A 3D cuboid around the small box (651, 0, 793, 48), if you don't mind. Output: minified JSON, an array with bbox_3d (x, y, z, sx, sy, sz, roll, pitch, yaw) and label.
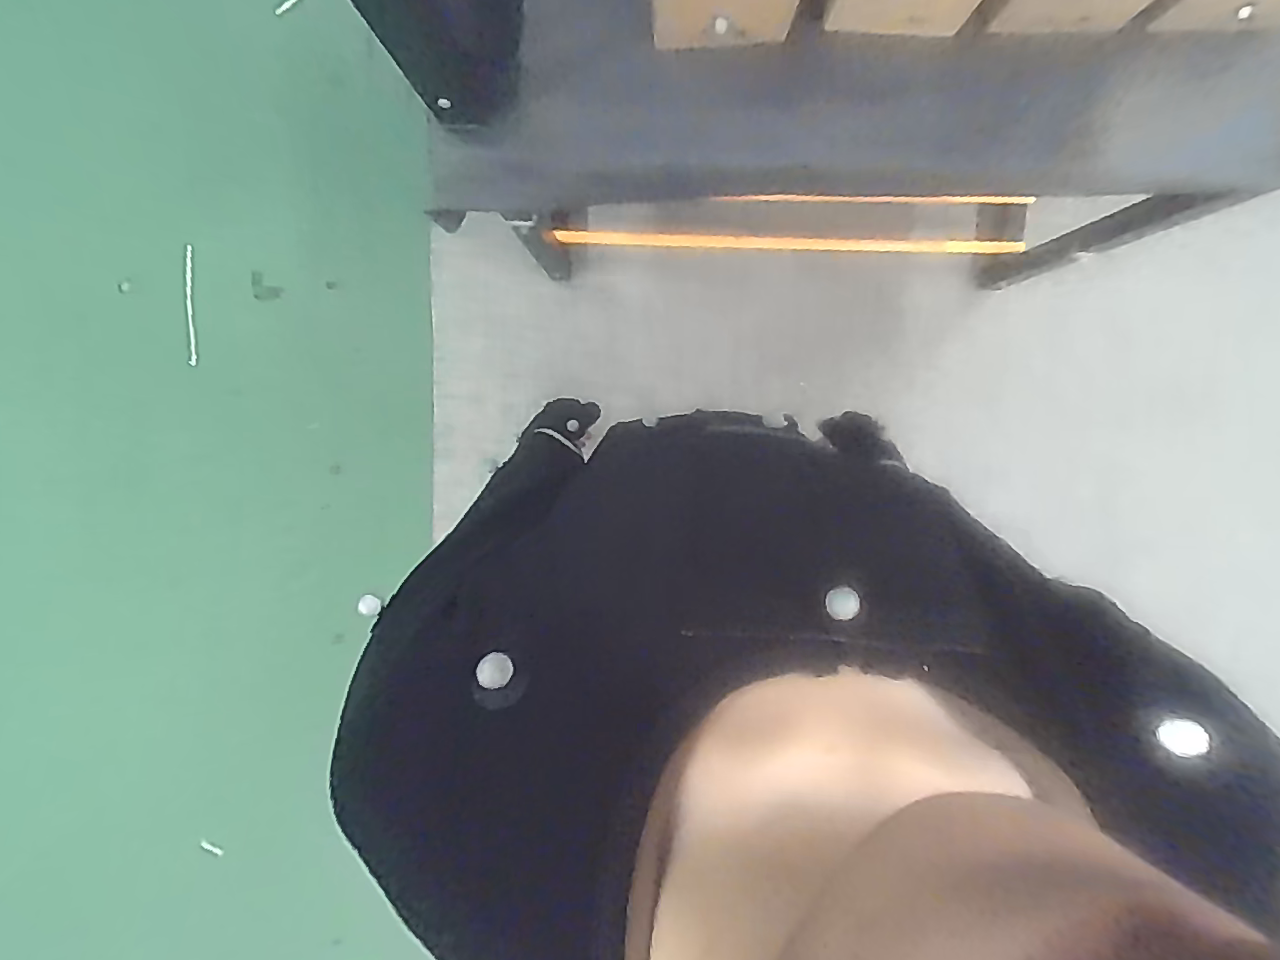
[{"bbox_3d":[0.092,-0.630,0.598,0.168,0.176,0.179,-3,97,2],"label":"small box"}]
